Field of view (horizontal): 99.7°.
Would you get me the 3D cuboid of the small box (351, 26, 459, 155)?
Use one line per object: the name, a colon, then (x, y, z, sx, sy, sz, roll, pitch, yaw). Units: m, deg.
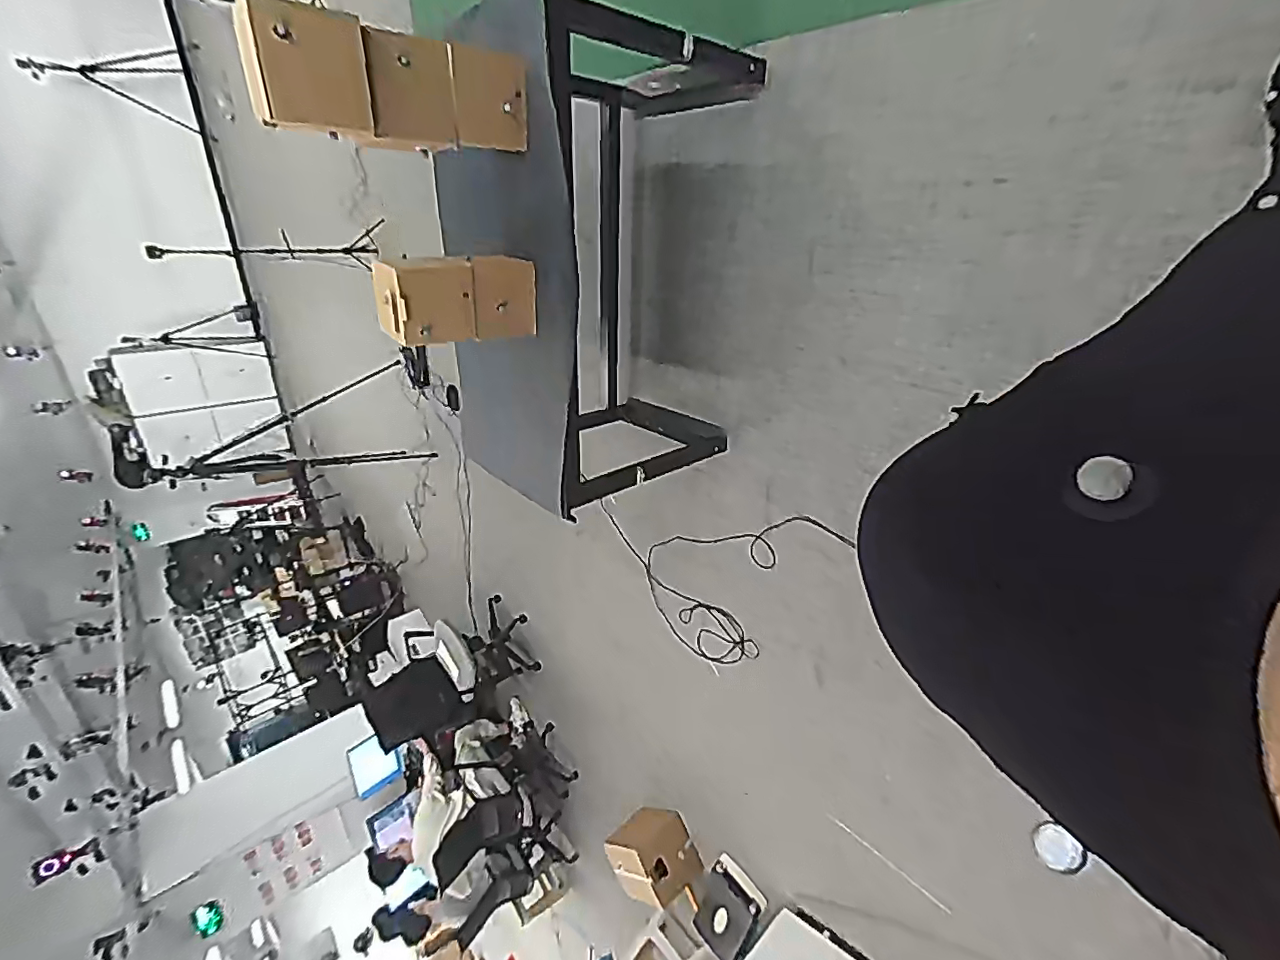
small box: (-0.482, -0.766, 1.084, 0.168, 0.176, 0.179, 27, 127, 45)

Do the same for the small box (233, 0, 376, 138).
small box: (-0.595, -0.727, 0.967, 0.168, 0.176, 0.179, 33, 130, 43)

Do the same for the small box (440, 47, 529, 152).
small box: (-0.358, -0.818, 1.175, 0.179, 0.176, 0.168, 34, 130, 39)

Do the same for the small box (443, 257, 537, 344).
small box: (-0.369, -0.454, 1.352, 0.168, 0.176, 0.179, 30, 128, 41)
